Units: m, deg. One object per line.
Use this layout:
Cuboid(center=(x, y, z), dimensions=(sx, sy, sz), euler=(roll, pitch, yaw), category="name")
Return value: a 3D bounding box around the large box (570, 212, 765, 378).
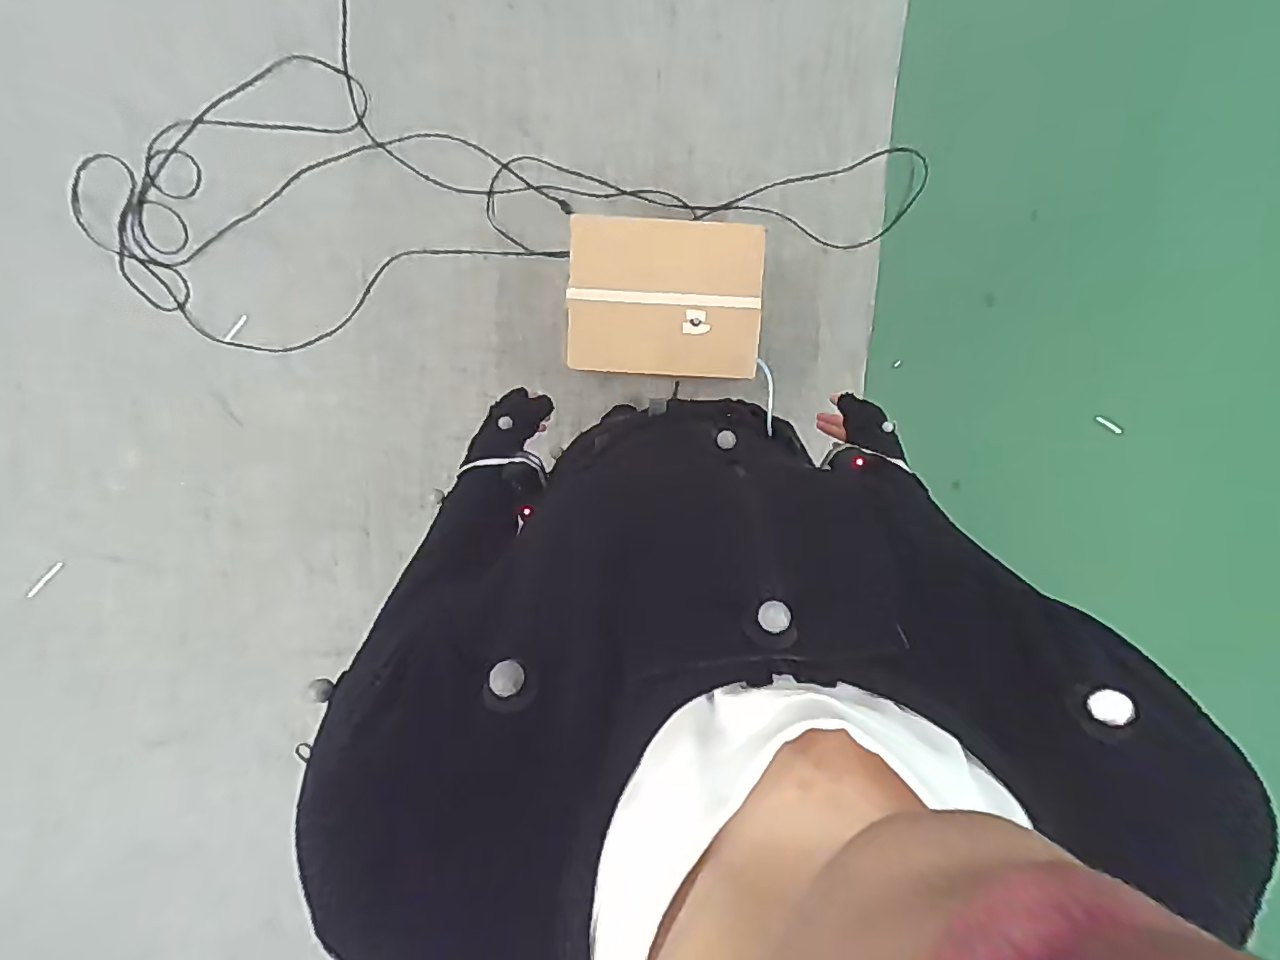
Cuboid(center=(0.050, -0.408, 1.271), dimensions=(0.408, 0.320, 0.320), euler=(3, 99, -1), category="large box")
